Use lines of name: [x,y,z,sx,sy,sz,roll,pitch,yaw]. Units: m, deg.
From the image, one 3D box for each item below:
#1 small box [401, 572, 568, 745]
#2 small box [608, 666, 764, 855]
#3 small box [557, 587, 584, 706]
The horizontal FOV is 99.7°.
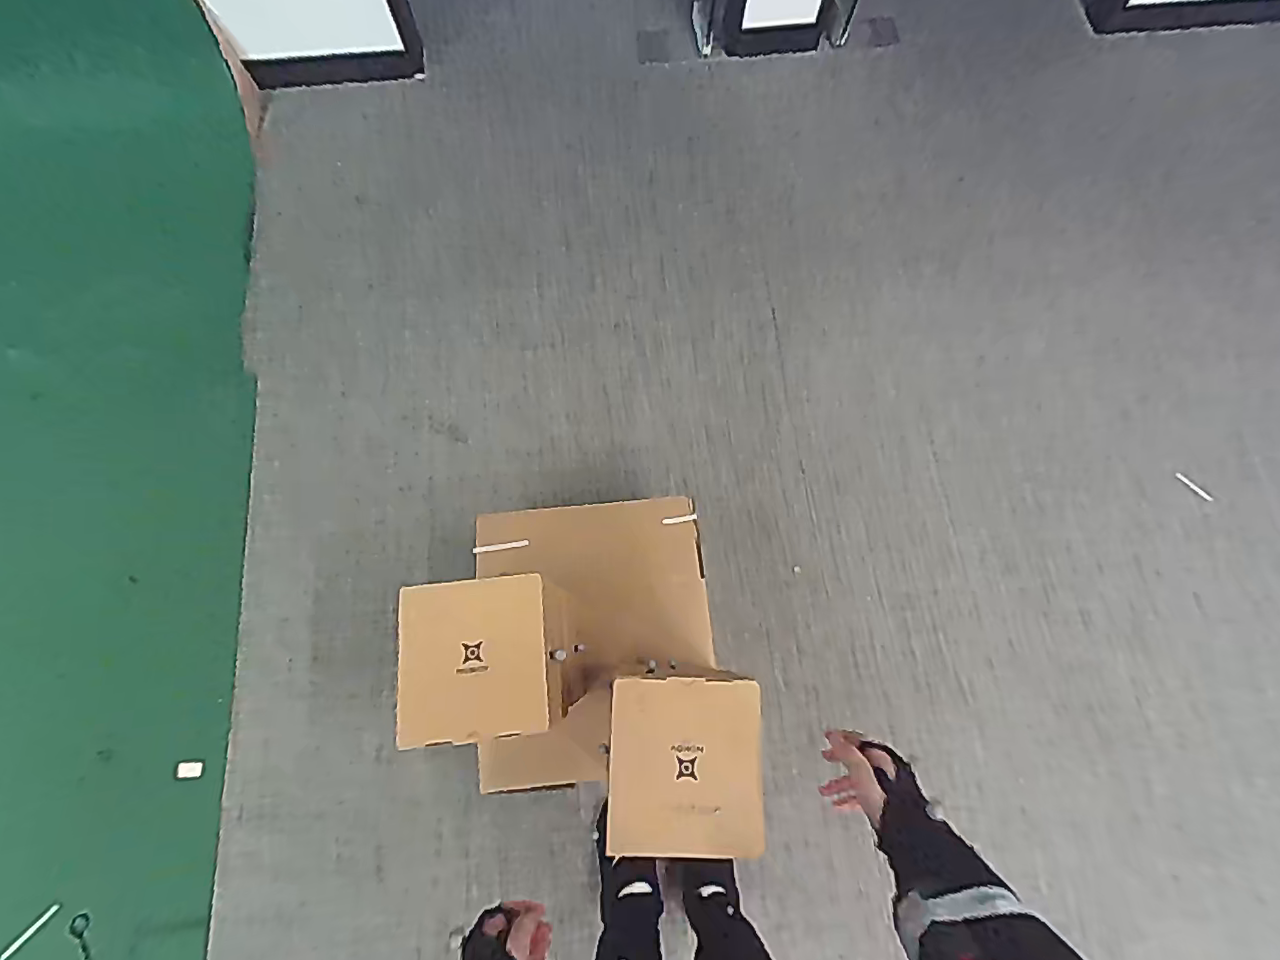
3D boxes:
small box: [-0.184,0.220,0.685,0.168,0.176,0.179,-5,74,-2]
small box: [0.049,0.322,0.656,0.168,0.176,0.179,2,74,0]
small box: [-0.182,0.265,0.842,0.179,0.176,0.168,-7,73,-2]
